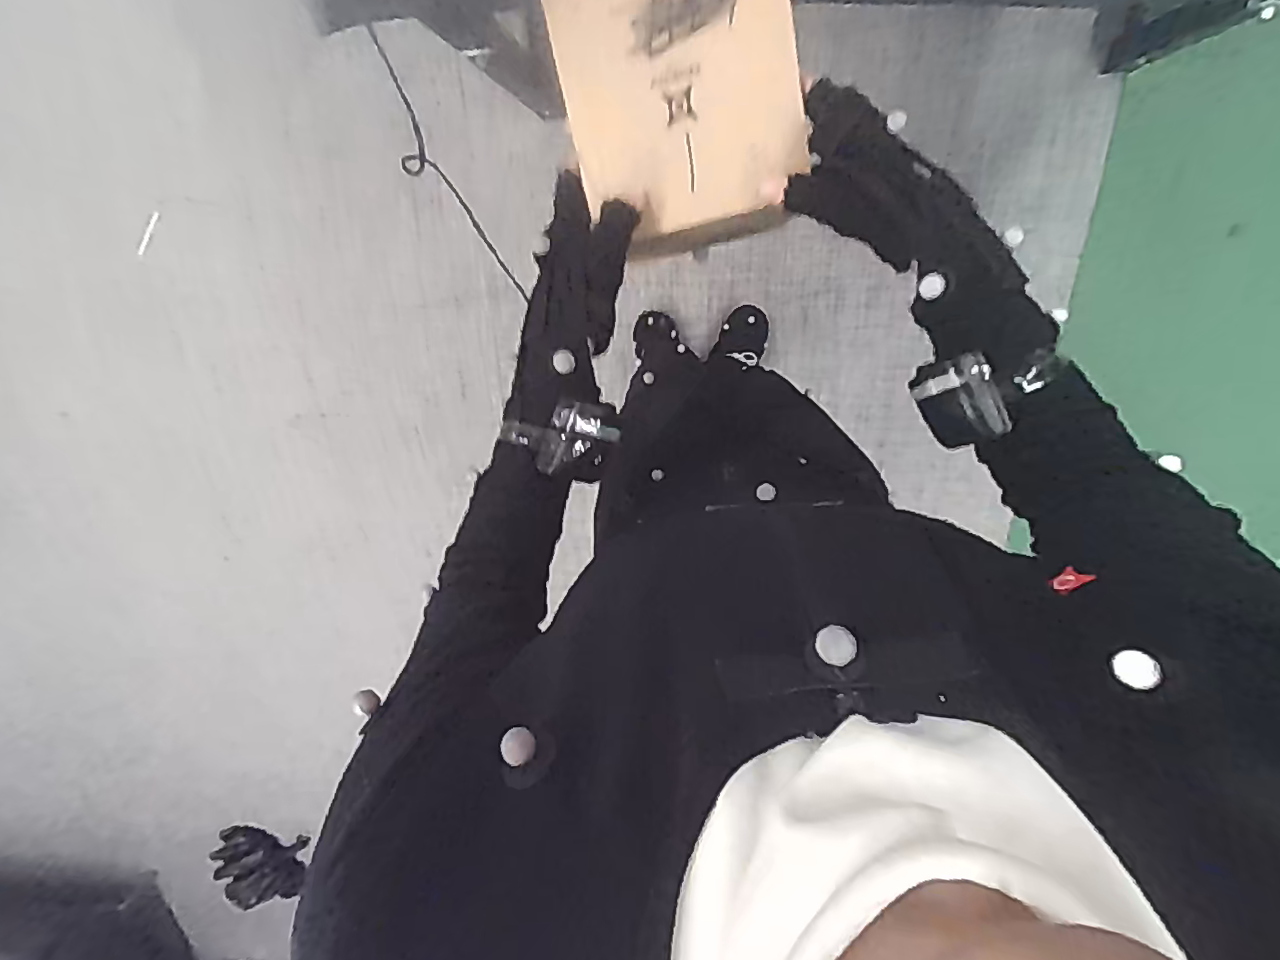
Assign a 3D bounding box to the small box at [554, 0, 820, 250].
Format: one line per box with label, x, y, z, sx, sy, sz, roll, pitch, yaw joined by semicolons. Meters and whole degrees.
small box;0.041;-0.307;0.449;0.168;0.176;0.179;-10;107;11
